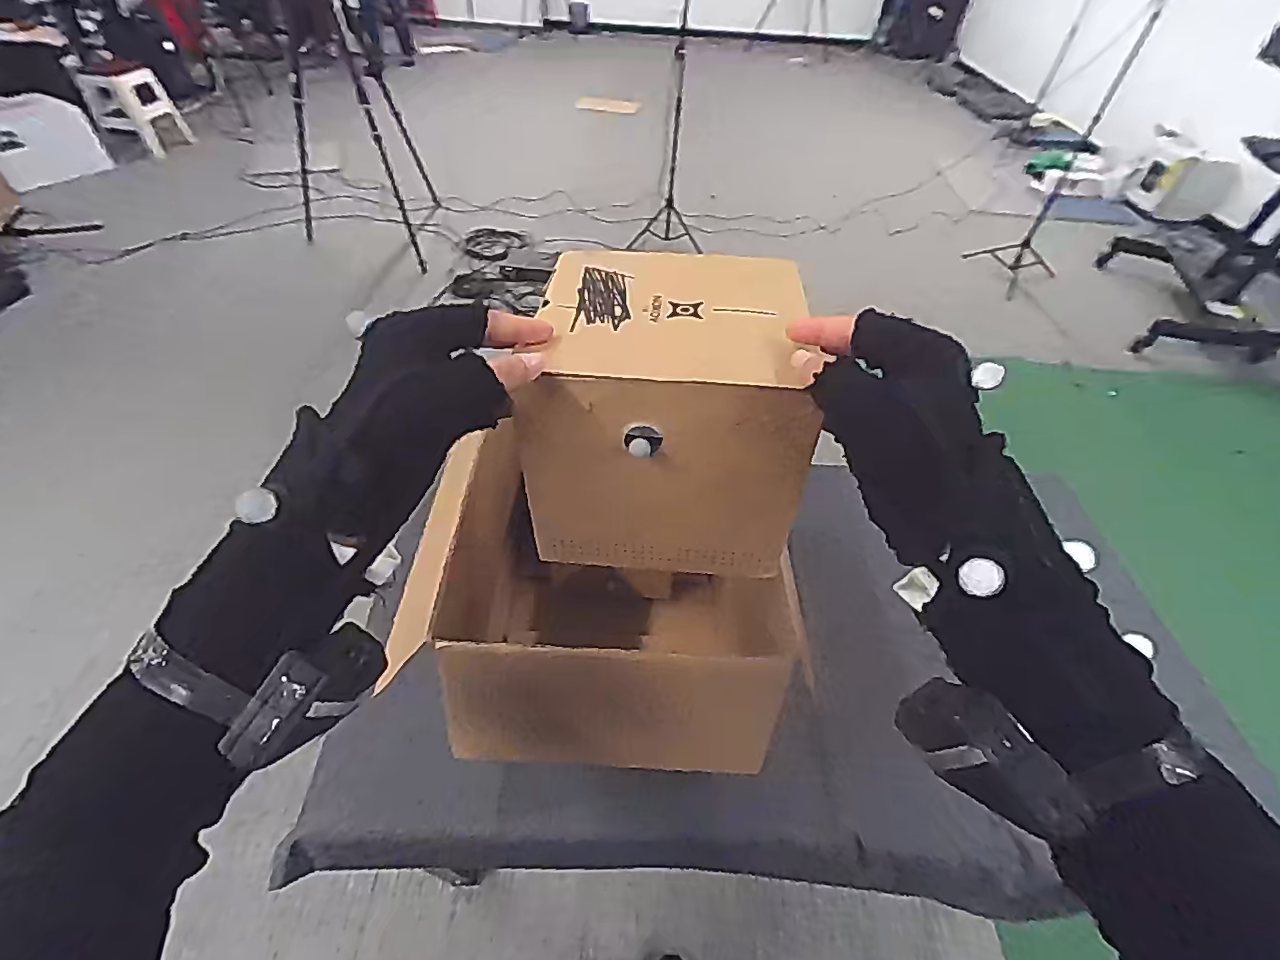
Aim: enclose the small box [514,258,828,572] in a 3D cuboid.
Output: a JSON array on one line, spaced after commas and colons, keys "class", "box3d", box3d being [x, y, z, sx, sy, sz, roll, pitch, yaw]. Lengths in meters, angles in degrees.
[{"class": "small box", "box3d": [0.023, -0.047, 0.405, 0.179, 0.176, 0.168, 5, 45, 3]}]
